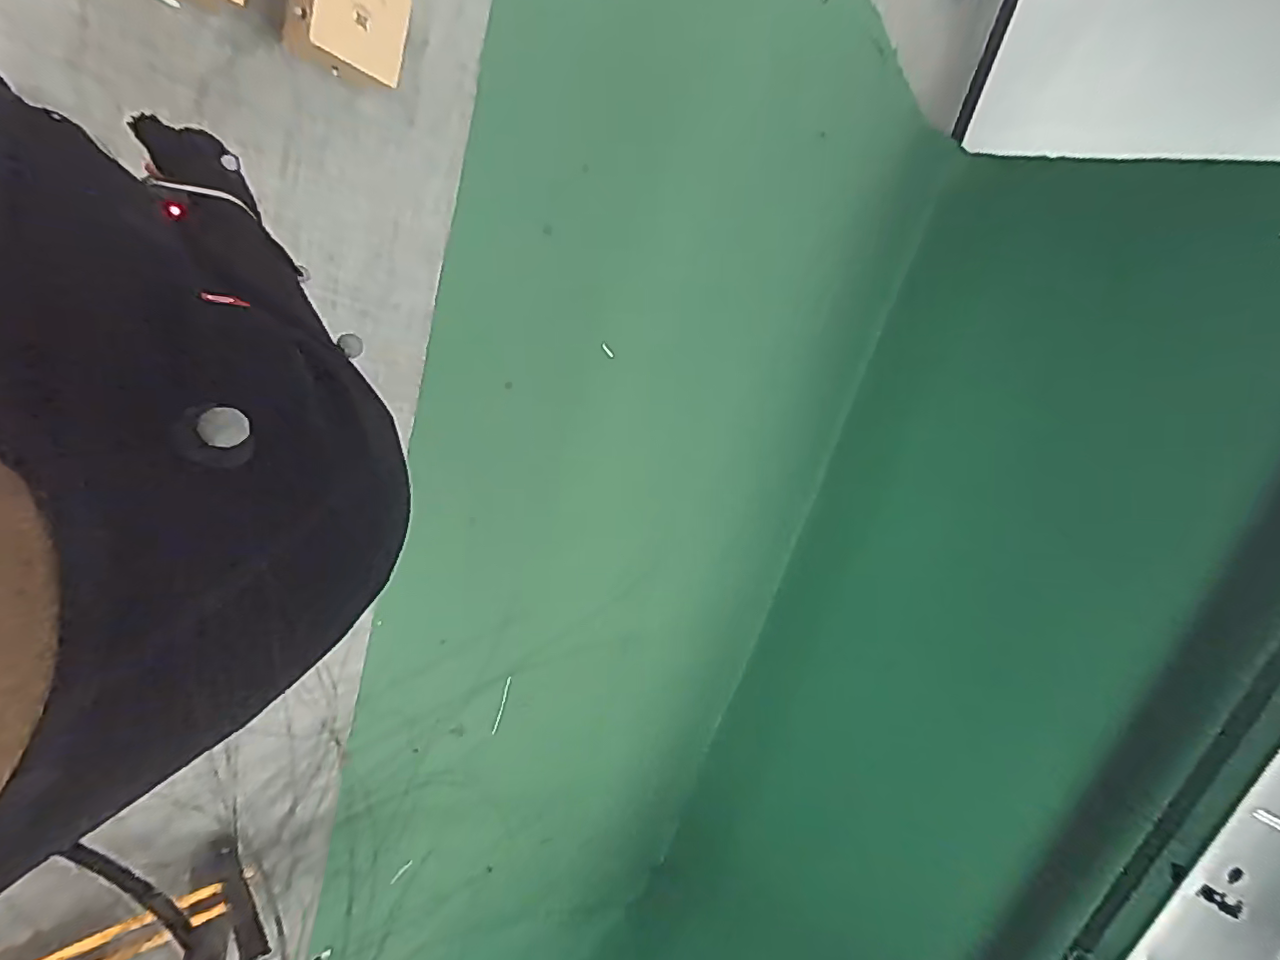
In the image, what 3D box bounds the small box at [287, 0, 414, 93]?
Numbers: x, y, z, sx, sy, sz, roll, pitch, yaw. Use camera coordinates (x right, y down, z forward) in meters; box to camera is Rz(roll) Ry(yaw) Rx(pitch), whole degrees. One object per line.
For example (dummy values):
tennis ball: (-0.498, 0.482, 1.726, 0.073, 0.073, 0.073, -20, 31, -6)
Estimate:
small box: (-0.582, -0.909, 1.079, 0.168, 0.176, 0.179, 1, 112, -50)
